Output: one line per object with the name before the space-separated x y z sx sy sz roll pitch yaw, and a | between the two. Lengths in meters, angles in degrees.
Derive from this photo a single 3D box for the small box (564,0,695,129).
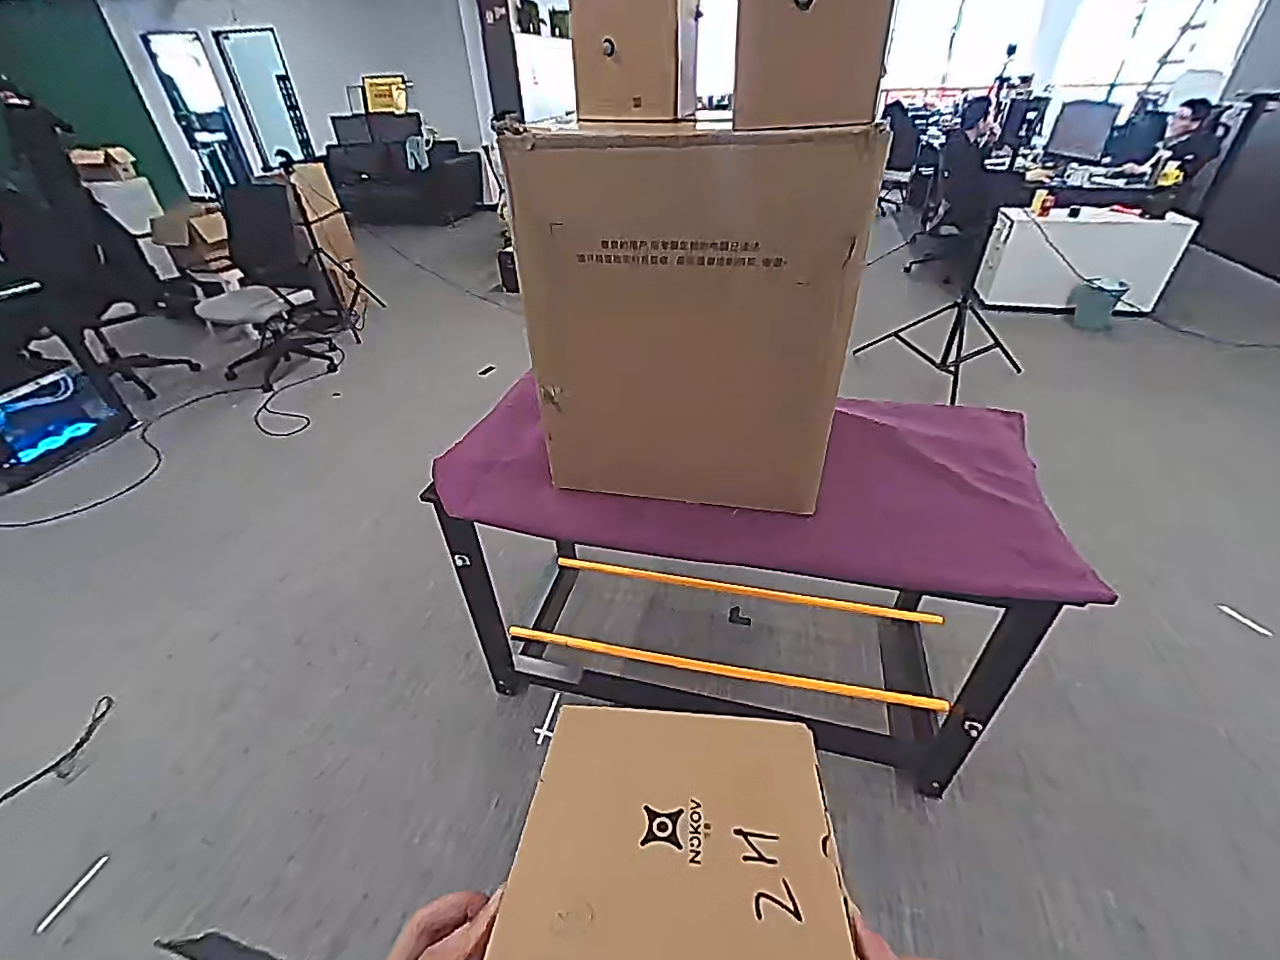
small box | -0.008 -0.674 0.876 0.168 0.176 0.179 8 38 13

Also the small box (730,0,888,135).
small box | 0.209 -0.552 0.696 0.179 0.176 0.168 4 37 10

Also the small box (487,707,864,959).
small box | 0.025 0.270 0.336 0.179 0.176 0.168 2 25 6
